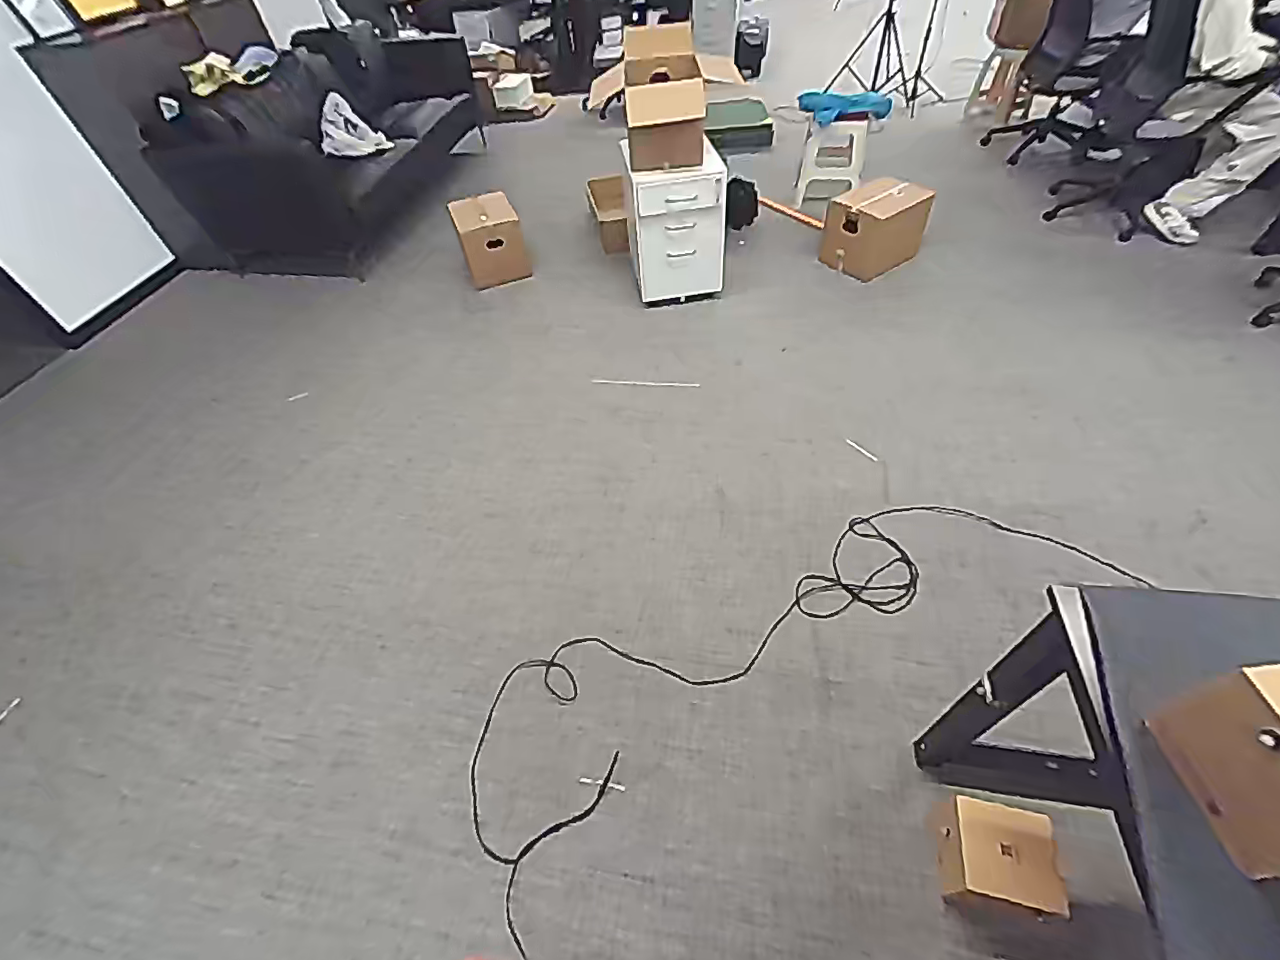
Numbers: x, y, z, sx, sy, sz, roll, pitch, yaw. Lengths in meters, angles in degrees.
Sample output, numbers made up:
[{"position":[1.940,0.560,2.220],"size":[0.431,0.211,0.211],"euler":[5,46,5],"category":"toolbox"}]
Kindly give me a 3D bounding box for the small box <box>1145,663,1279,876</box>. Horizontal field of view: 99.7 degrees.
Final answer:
[{"position":[0.702,0.297,0.557],"size":[0.179,0.176,0.168],"euler":[-5,49,2],"category":"small box"}]

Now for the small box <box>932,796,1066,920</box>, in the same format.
[{"position":[0.717,0.778,1.109],"size":[0.179,0.176,0.168],"euler":[8,50,12],"category":"small box"}]
